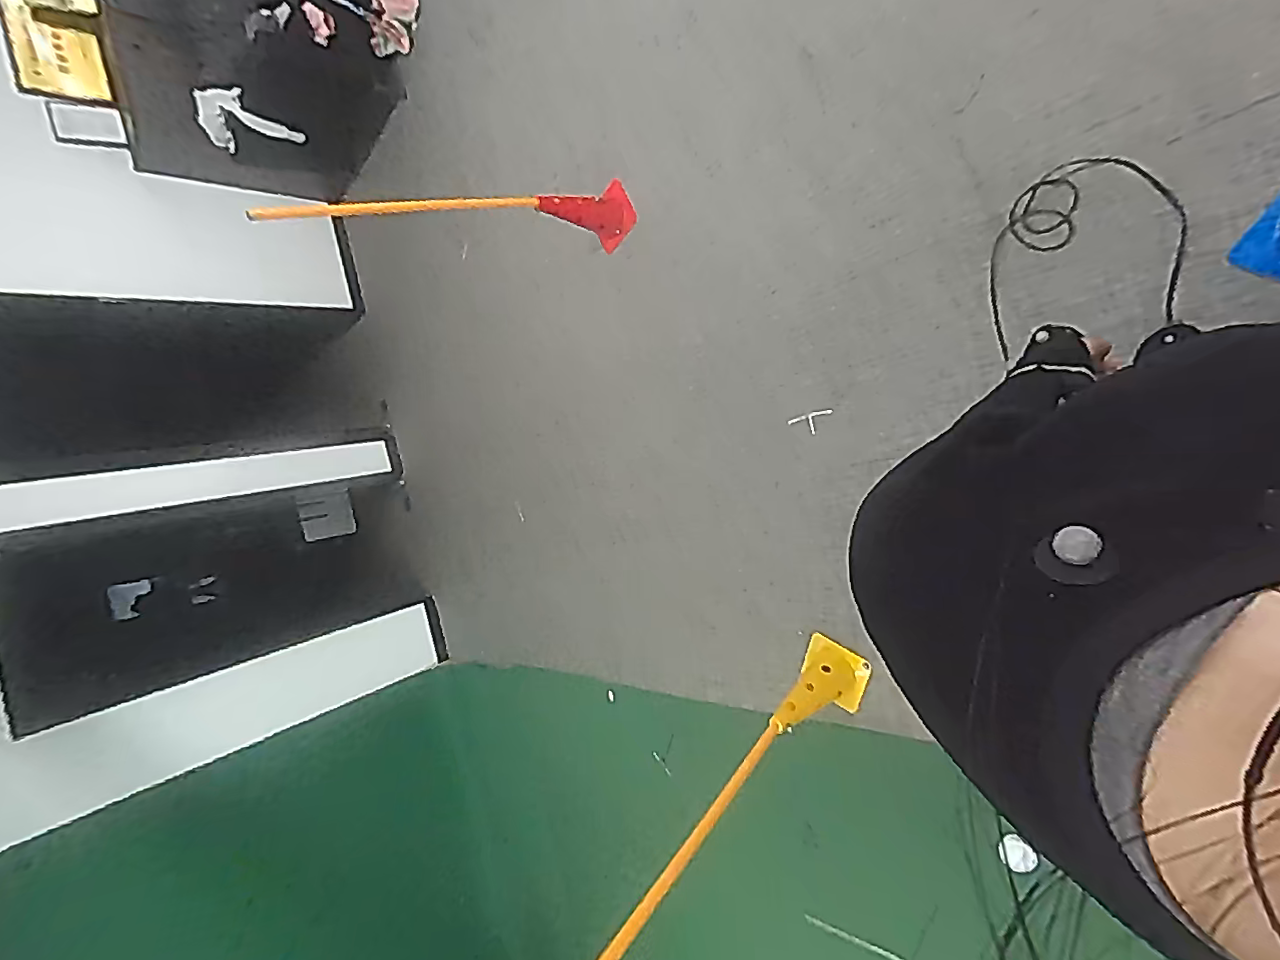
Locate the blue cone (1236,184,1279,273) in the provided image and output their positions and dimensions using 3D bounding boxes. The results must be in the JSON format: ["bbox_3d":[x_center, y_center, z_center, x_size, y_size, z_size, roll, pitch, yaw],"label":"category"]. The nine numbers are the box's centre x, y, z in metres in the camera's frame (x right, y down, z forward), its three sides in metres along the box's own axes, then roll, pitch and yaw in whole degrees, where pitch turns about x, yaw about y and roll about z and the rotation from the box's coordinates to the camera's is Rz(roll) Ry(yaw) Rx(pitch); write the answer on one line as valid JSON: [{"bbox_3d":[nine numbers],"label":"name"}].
[{"bbox_3d":[1.050,-0.417,0.786,0.192,0.380,0.193,42,124,31],"label":"blue cone"}]
